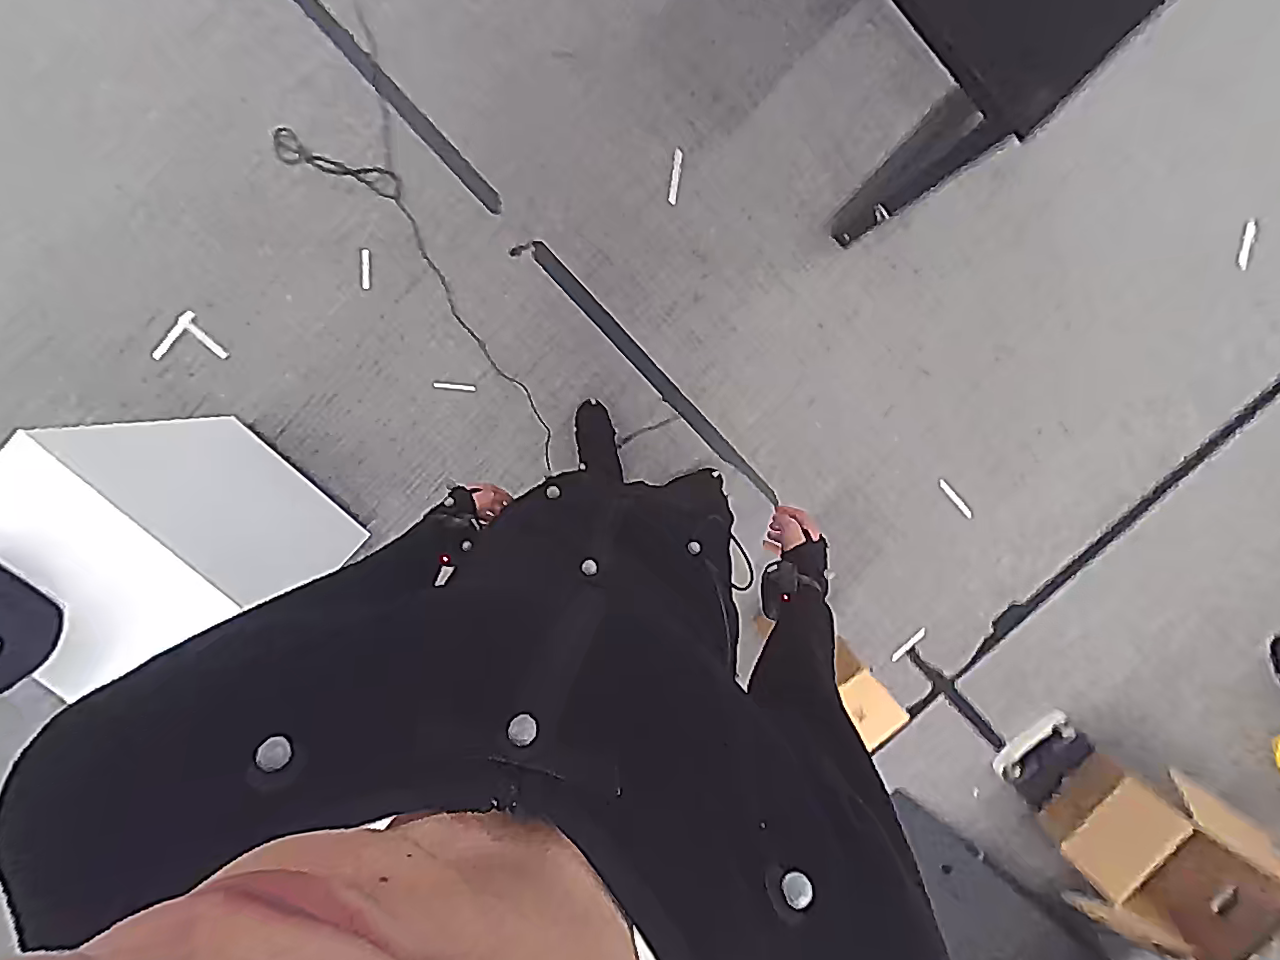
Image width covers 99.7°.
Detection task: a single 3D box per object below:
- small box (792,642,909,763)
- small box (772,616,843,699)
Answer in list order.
[{"bbox_3d":[0.502,0.531,1.314,0.168,0.176,0.179,-42,98,6],"label":"small box"},{"bbox_3d":[0.487,0.505,1.474,0.179,0.176,0.168,-44,98,7],"label":"small box"}]
